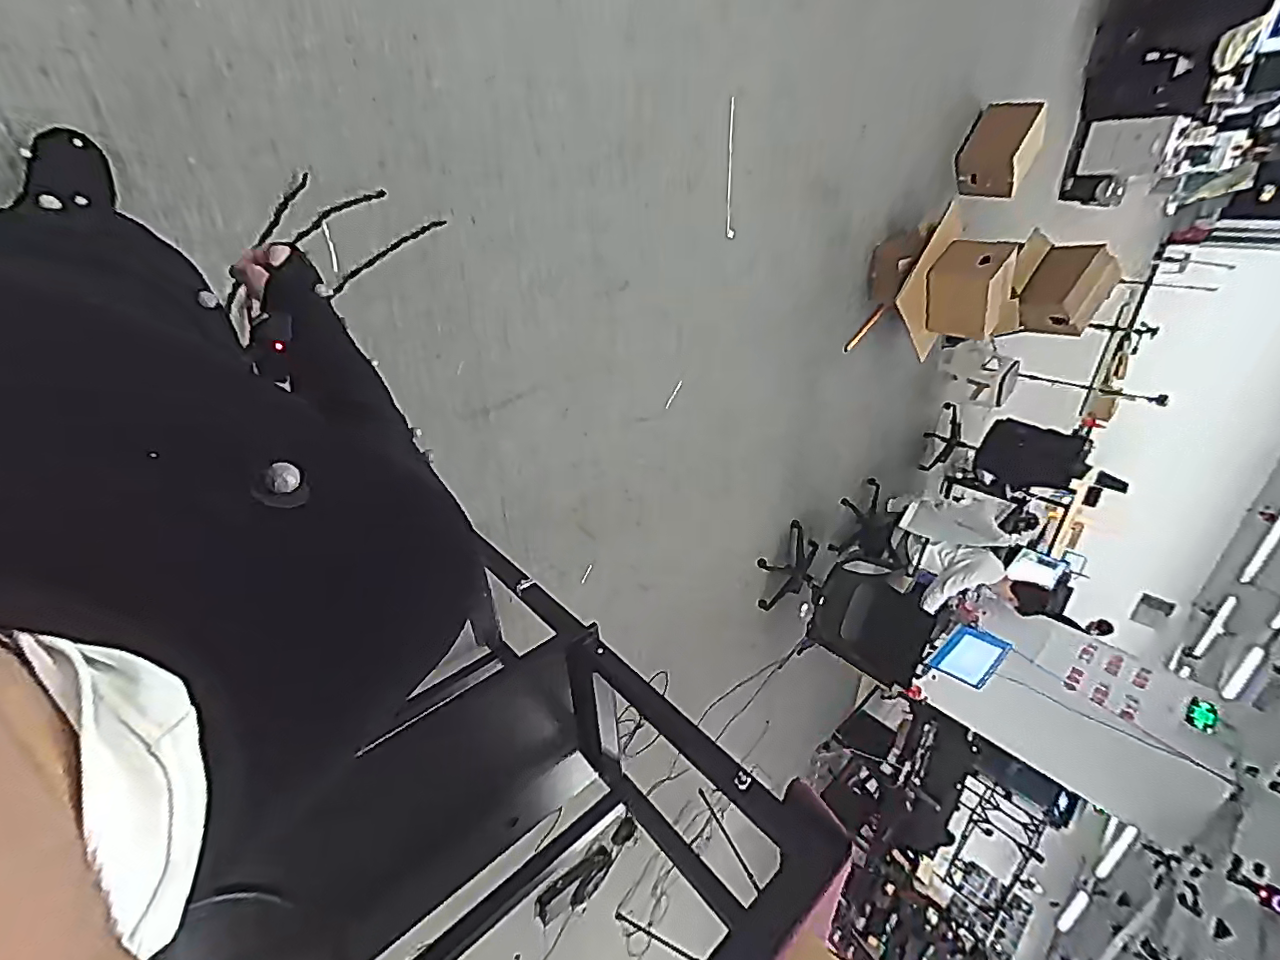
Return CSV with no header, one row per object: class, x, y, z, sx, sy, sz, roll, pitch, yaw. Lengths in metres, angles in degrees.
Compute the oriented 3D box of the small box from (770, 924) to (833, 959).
small box,0.252,0.856,0.832,0.179,0.176,0.168,-28,129,-33
